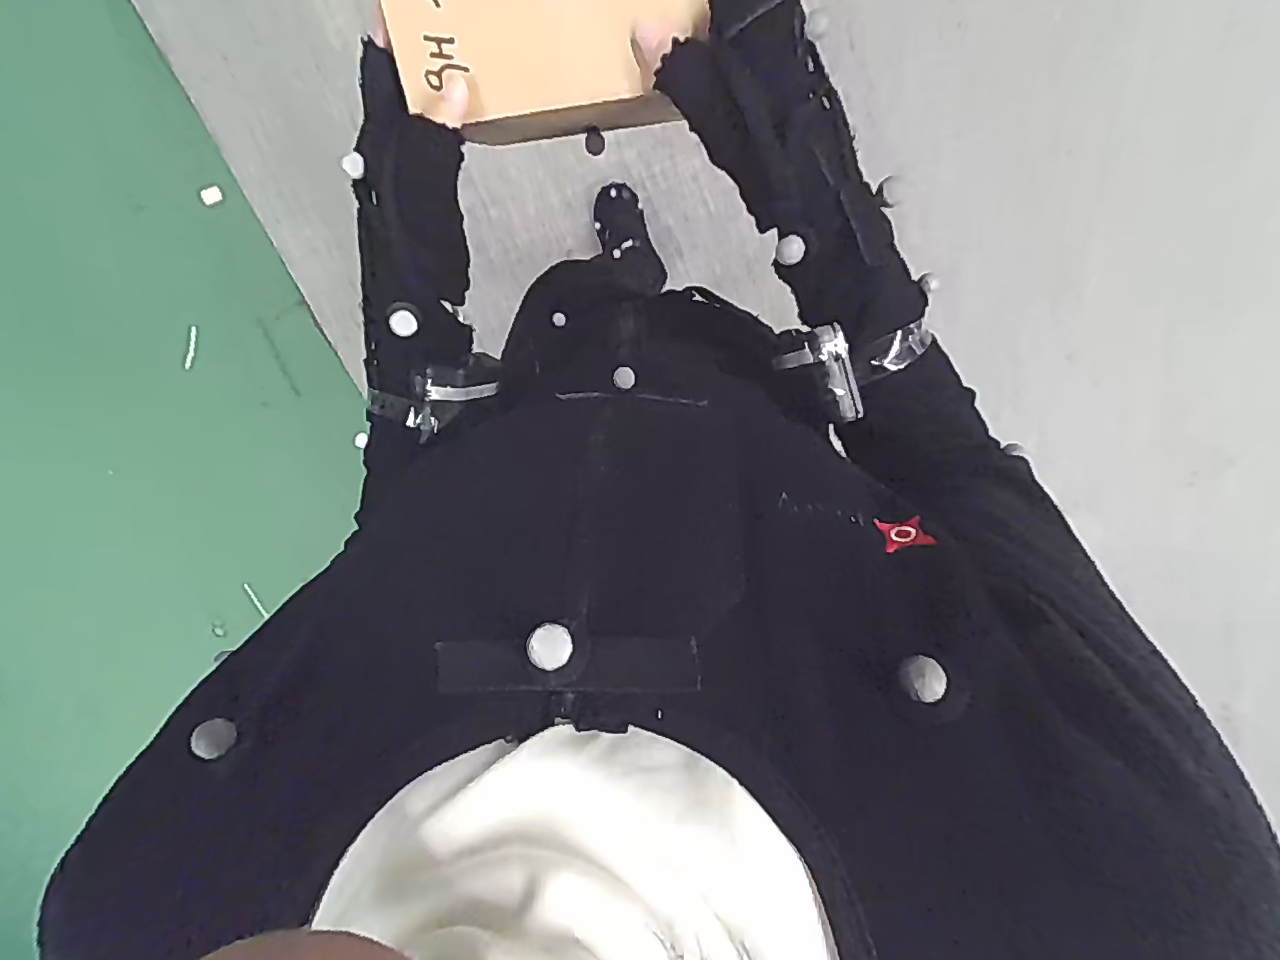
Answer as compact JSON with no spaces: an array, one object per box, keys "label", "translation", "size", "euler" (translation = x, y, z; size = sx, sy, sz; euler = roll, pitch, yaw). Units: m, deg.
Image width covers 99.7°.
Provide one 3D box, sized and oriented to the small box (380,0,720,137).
[{"label":"small box","translation":[-0.051,-0.320,0.329],"size":[0.179,0.176,0.168],"euler":[-5,118,5]}]
